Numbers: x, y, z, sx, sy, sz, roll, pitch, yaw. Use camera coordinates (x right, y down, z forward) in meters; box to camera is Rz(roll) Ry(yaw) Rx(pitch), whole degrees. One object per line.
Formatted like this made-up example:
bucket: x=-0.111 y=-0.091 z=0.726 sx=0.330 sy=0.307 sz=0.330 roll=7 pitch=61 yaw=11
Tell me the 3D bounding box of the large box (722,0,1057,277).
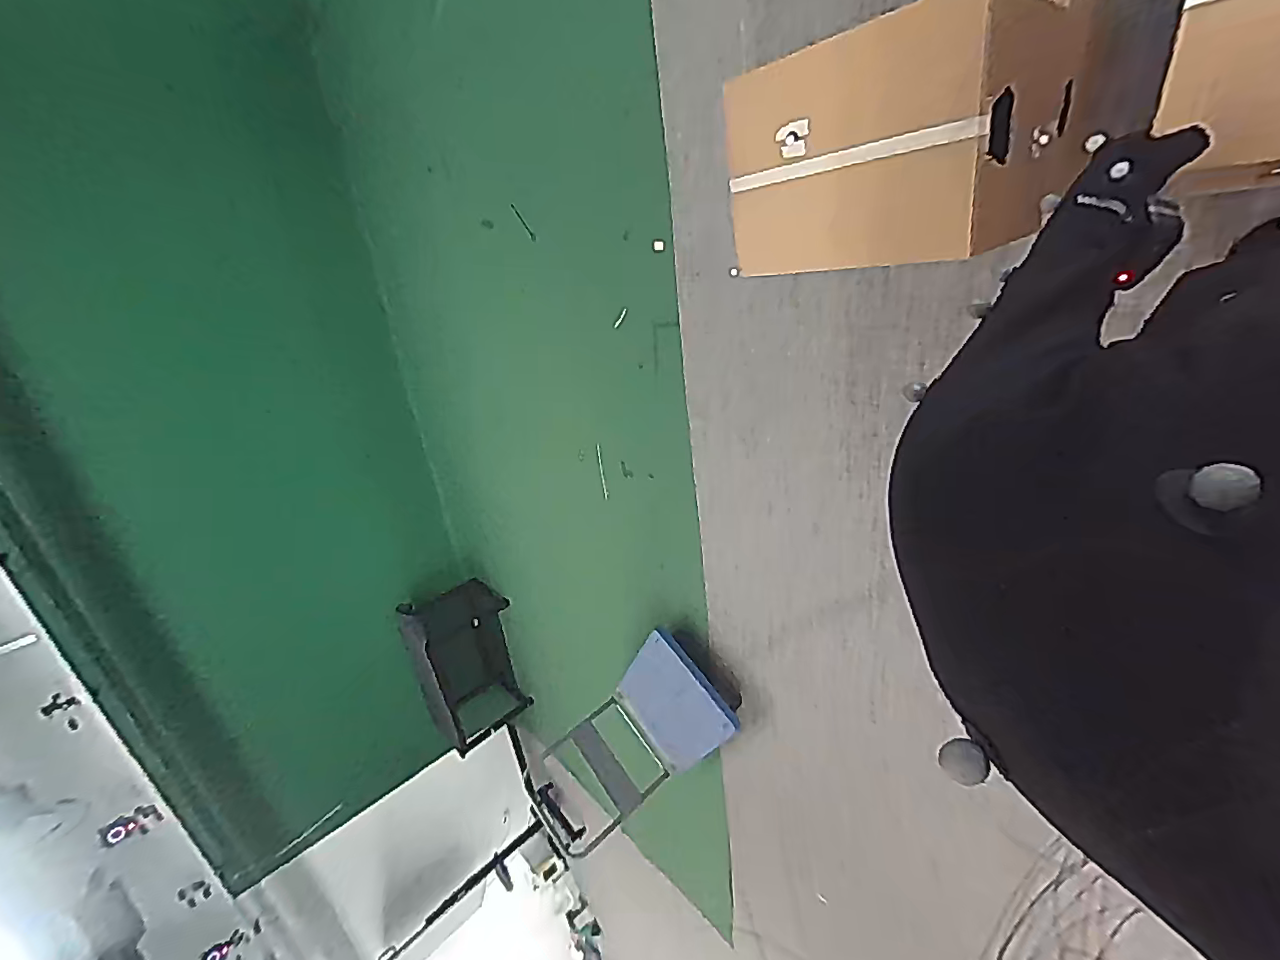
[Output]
large box: x=0.404 y=-0.547 z=0.911 sx=0.408 sy=0.320 sz=0.320 roll=18 pitch=126 yaw=47
